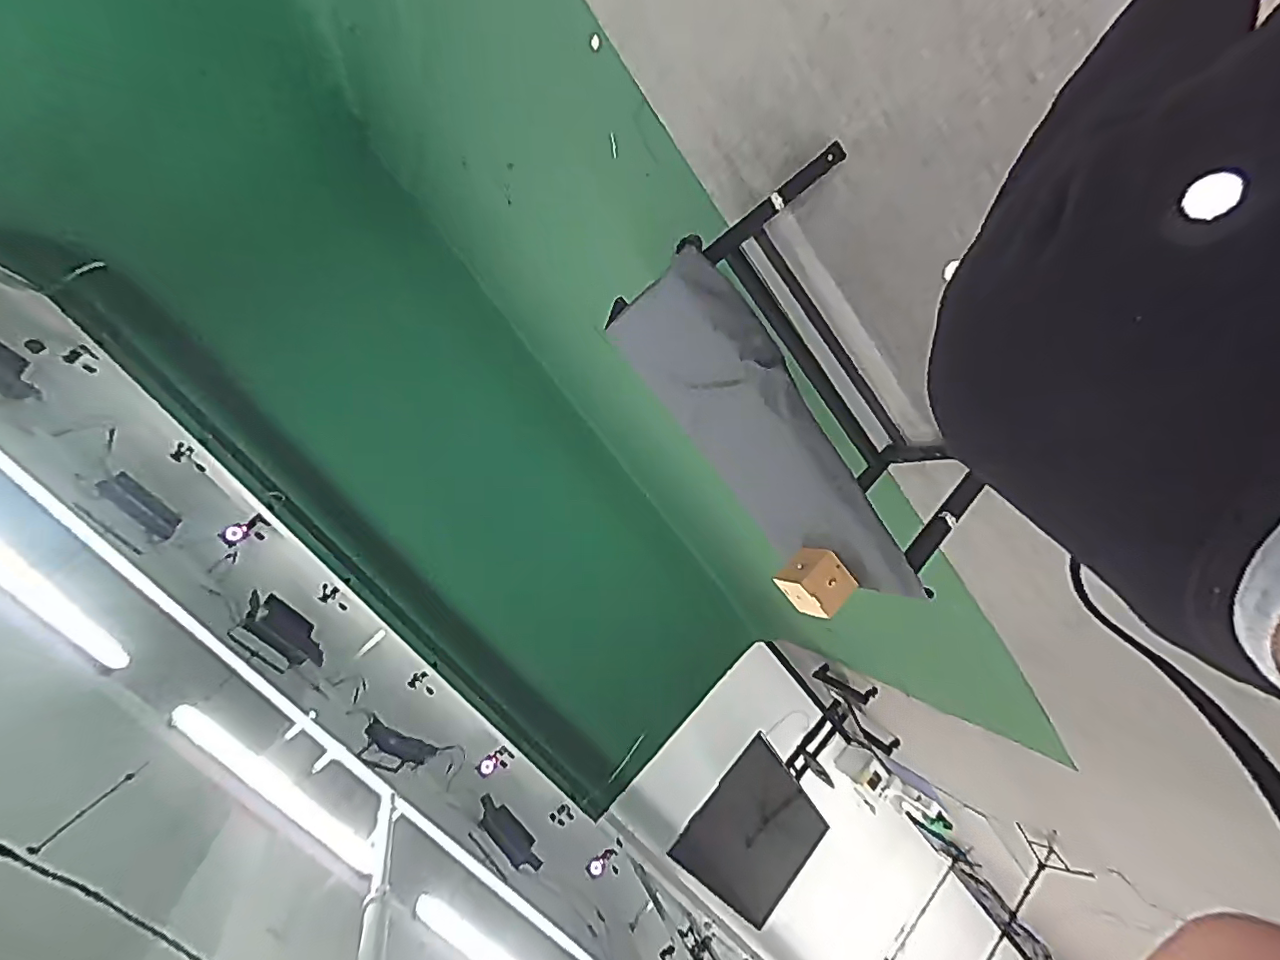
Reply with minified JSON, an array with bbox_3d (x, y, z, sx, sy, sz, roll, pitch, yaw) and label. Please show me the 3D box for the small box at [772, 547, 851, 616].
[{"bbox_3d":[0.608,0.348,1.893,0.168,0.176,0.179,50,163,-8],"label":"small box"}]
